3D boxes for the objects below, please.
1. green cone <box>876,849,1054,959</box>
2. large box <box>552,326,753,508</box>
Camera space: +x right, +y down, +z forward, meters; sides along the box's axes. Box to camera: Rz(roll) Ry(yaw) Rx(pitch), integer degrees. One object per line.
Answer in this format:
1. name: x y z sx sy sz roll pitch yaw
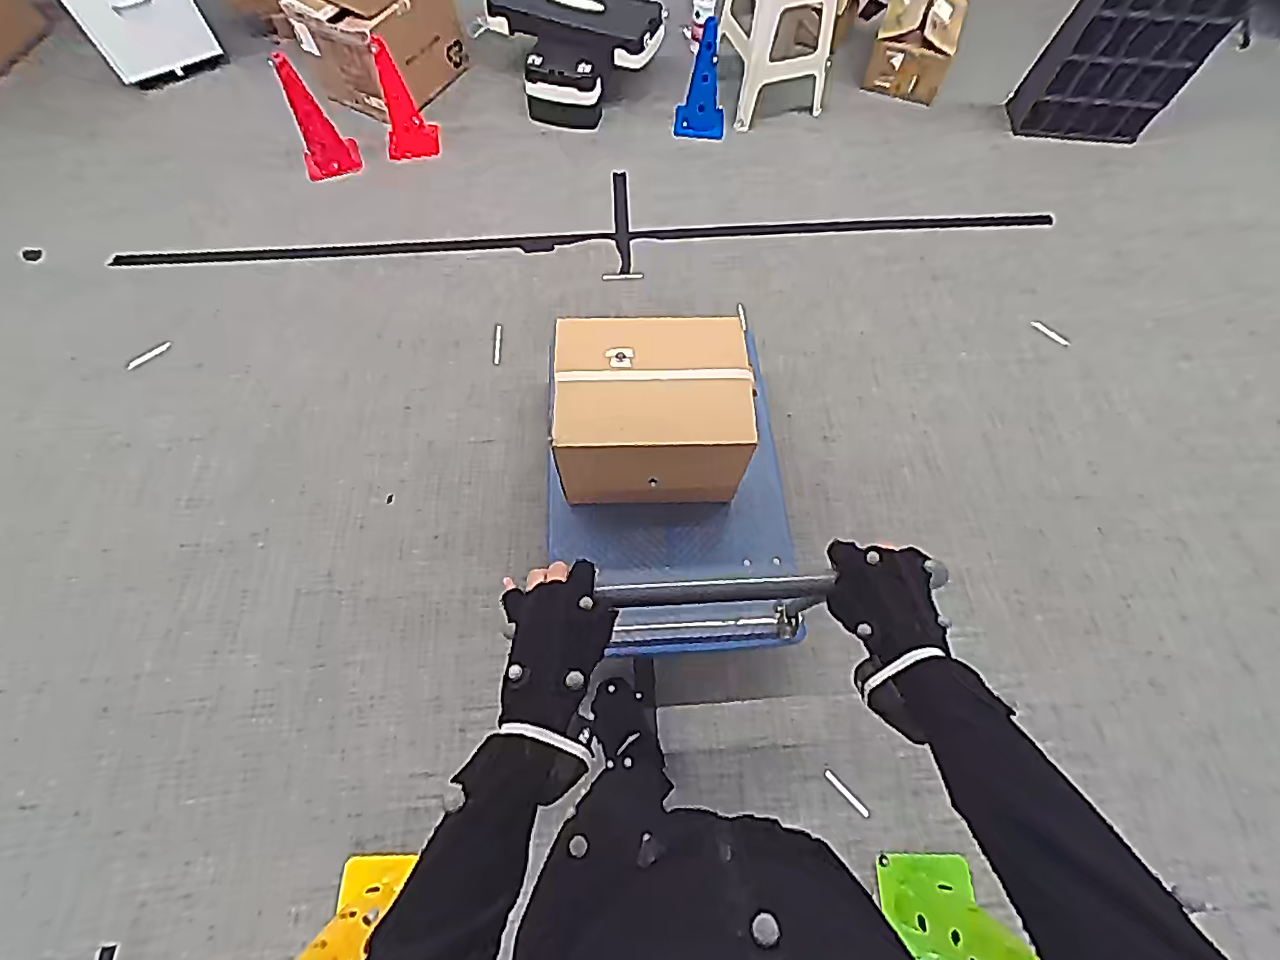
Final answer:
1. green cone: 0.613 0.827 0.983 0.202 0.368 0.200 1 65 -1
2. large box: 0.021 -0.133 1.259 0.408 0.320 0.320 -2 66 -1
